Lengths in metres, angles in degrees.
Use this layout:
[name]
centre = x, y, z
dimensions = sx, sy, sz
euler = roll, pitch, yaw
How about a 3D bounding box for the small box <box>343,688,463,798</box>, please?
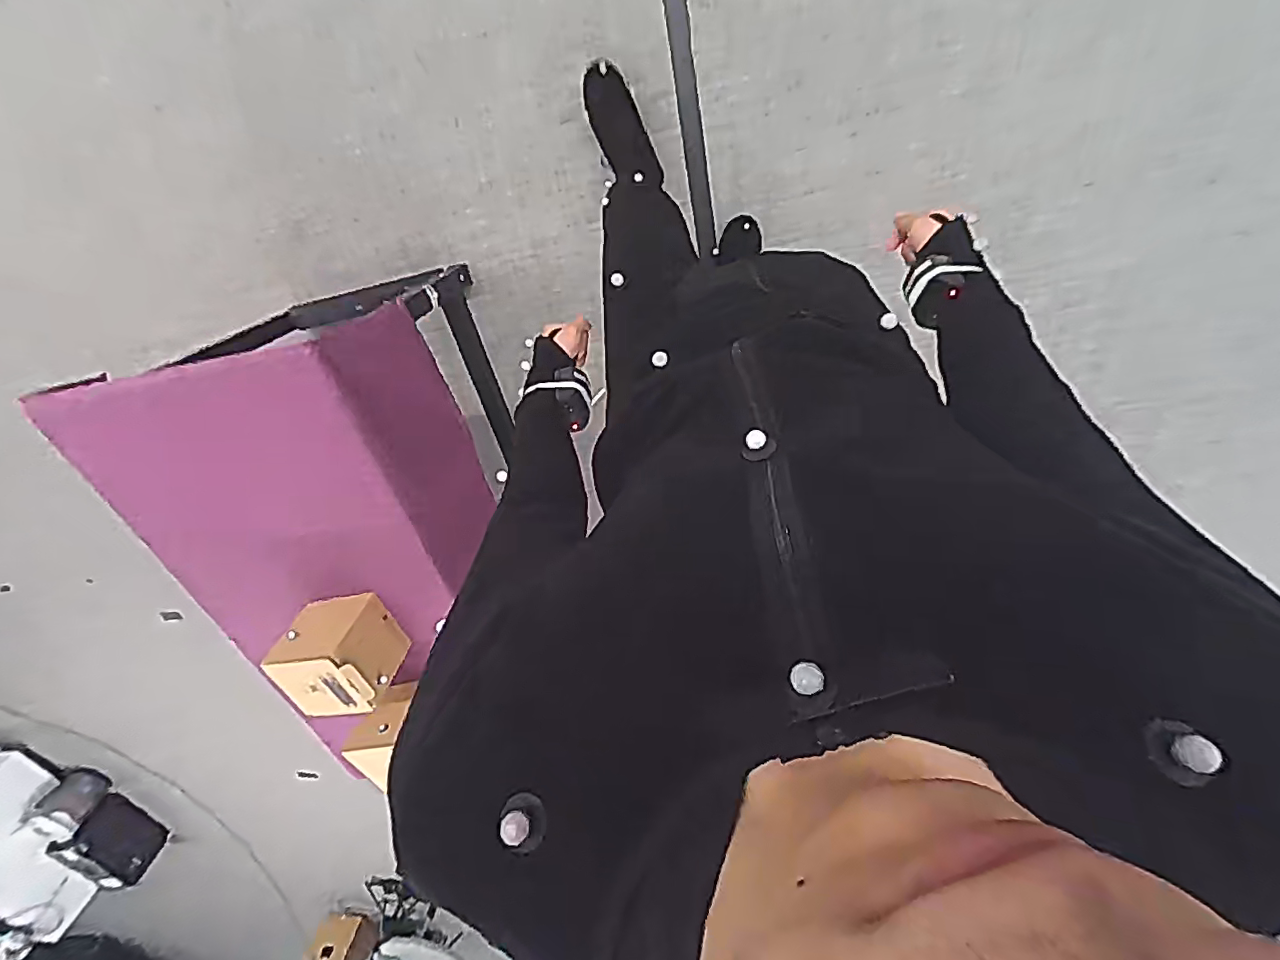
[small box]
centre = -0.544, 0.617, 1.278
dimensions = 0.179, 0.176, 0.168
euler = -17, 119, 16
